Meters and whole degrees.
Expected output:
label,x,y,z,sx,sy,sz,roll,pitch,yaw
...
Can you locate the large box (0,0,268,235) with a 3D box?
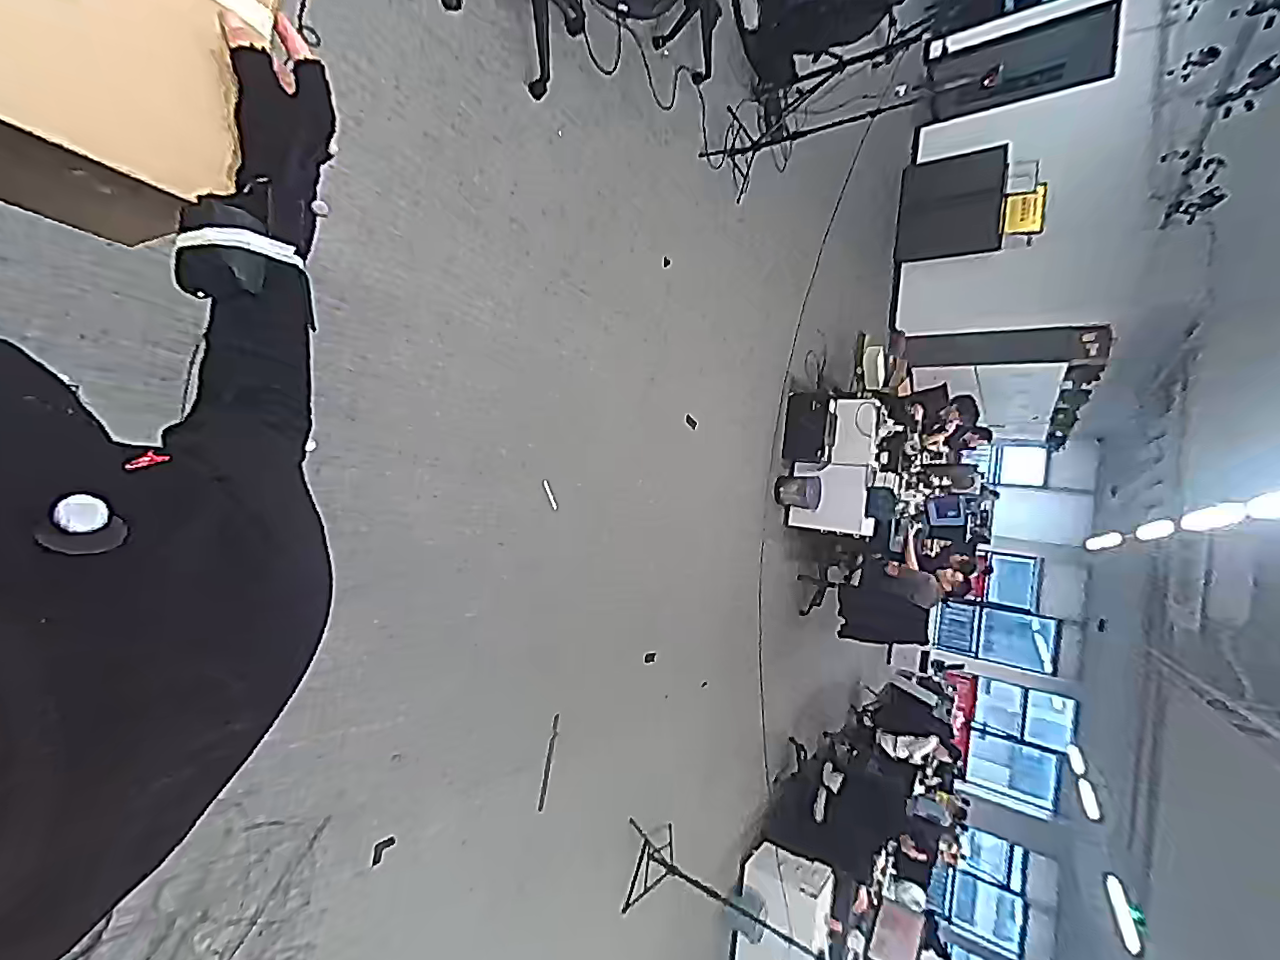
label,x,y,z,sx,sy,sz,roll,pitch,yaw
large box,-0.543,-0.419,0.368,0.408,0.320,0.320,12,91,-55
